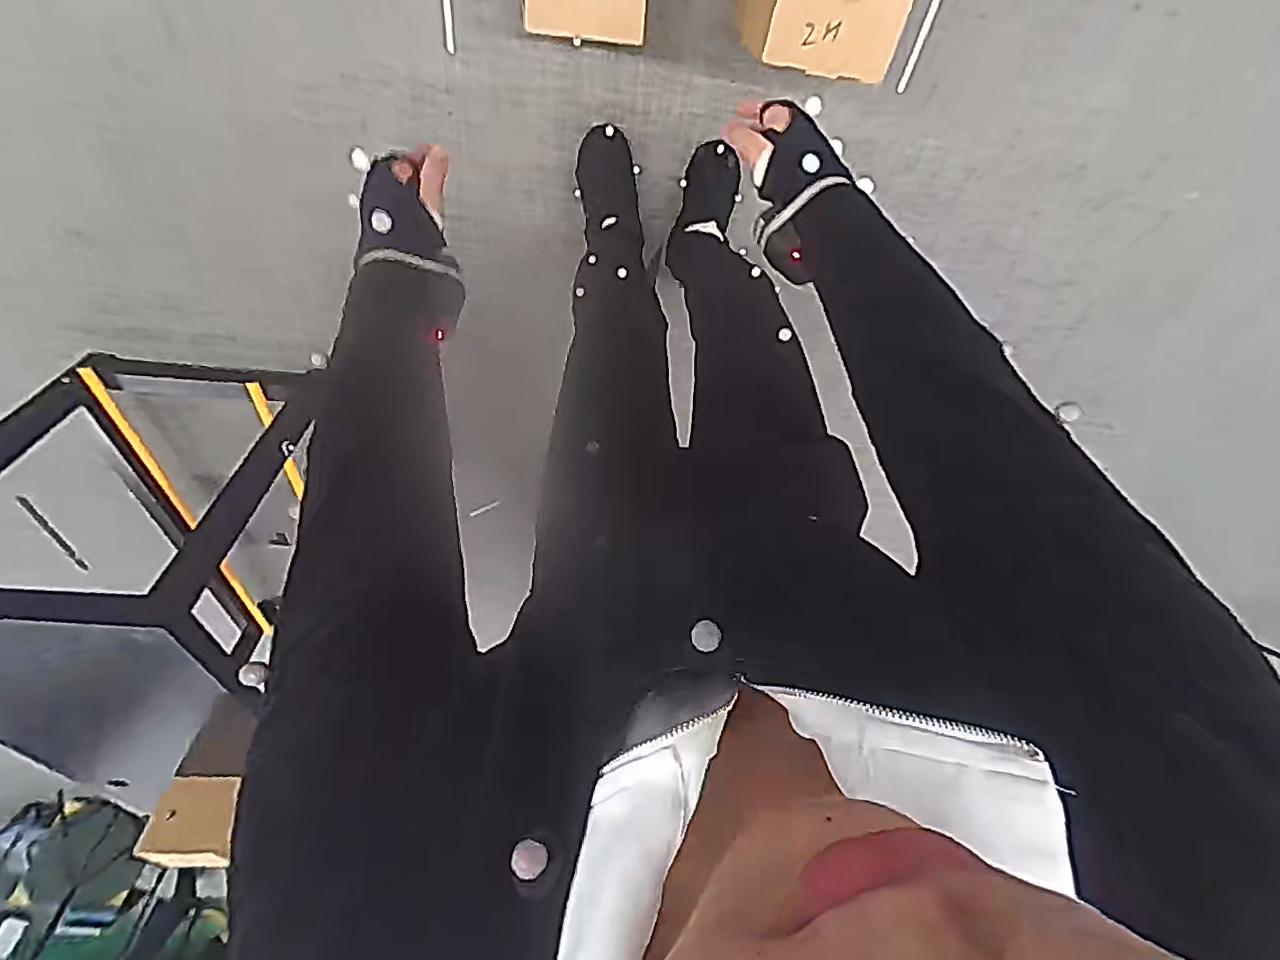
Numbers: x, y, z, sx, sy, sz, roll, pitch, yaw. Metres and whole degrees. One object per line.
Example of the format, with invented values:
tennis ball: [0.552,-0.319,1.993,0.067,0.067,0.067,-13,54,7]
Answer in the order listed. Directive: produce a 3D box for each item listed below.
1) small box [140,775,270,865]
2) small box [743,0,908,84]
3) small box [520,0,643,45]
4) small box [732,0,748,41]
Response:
small box: [-1.103,0.872,1.390,0.179,0.176,0.168,3,136,-5]
small box: [0.240,-0.643,0.692,0.168,0.176,0.179,6,135,-7]
small box: [-0.080,-0.763,0.794,0.179,0.176,0.168,3,136,-5]
small box: [0.241,-0.766,0.804,0.168,0.176,0.179,4,136,-6]
